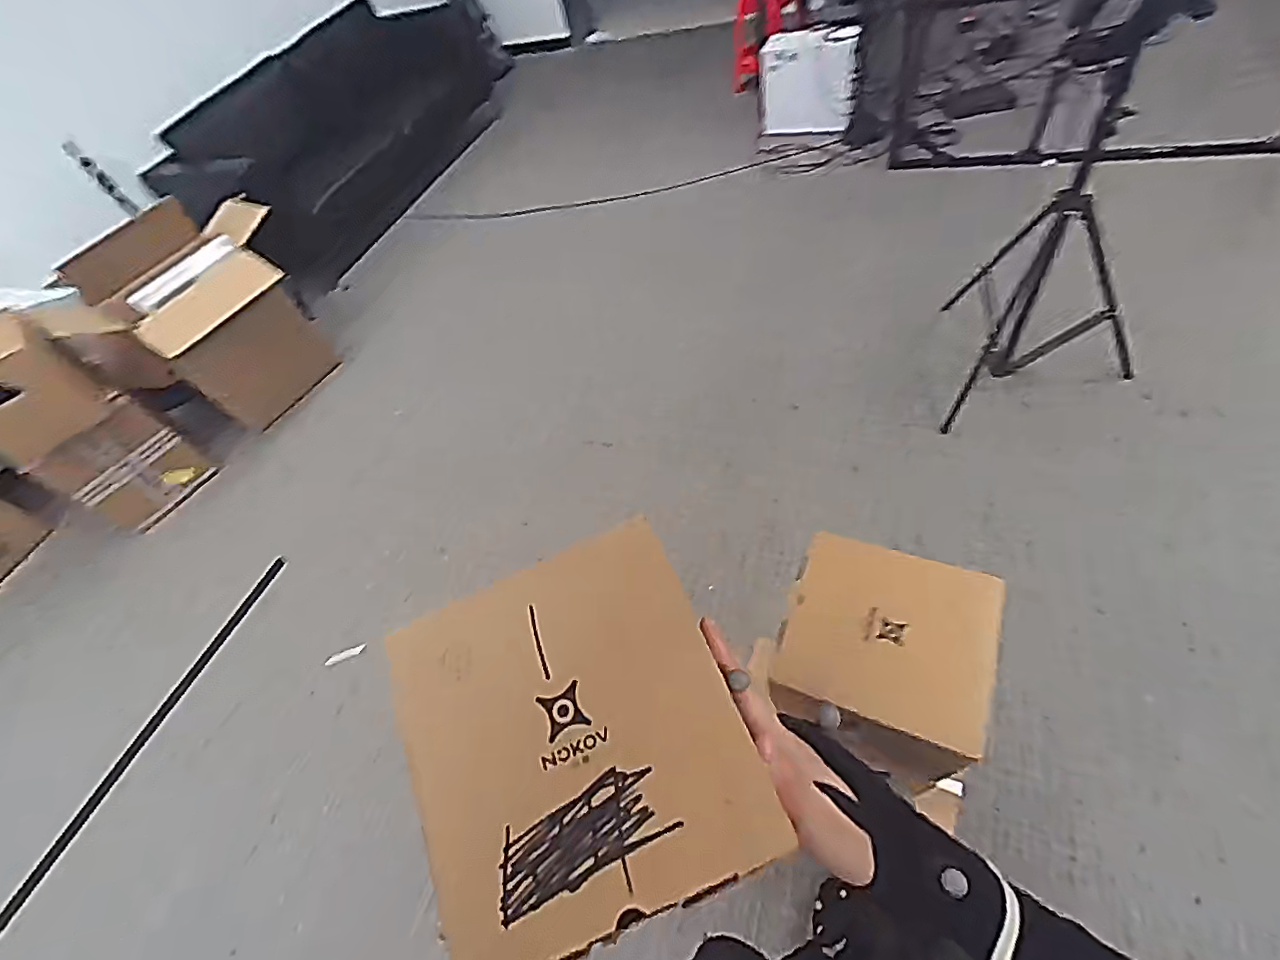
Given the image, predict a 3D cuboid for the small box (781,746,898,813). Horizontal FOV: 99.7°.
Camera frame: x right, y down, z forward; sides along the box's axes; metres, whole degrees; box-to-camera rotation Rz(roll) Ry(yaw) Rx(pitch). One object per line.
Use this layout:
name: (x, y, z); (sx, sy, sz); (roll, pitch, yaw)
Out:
small box: (0.353, 0.465, 0.949); (0.179, 0.176, 0.168); (11, 60, 21)

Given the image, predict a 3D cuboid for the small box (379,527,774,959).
small box: (-0.031, 0.160, 0.349); (0.168, 0.176, 0.179); (-25, 65, -2)

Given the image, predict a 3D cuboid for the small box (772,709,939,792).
small box: (0.279, 0.276, 0.691); (0.179, 0.176, 0.168); (14, 60, 24)

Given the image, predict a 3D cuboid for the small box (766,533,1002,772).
small box: (0.243, 0.183, 0.563); (0.179, 0.176, 0.168); (14, 61, 25)
